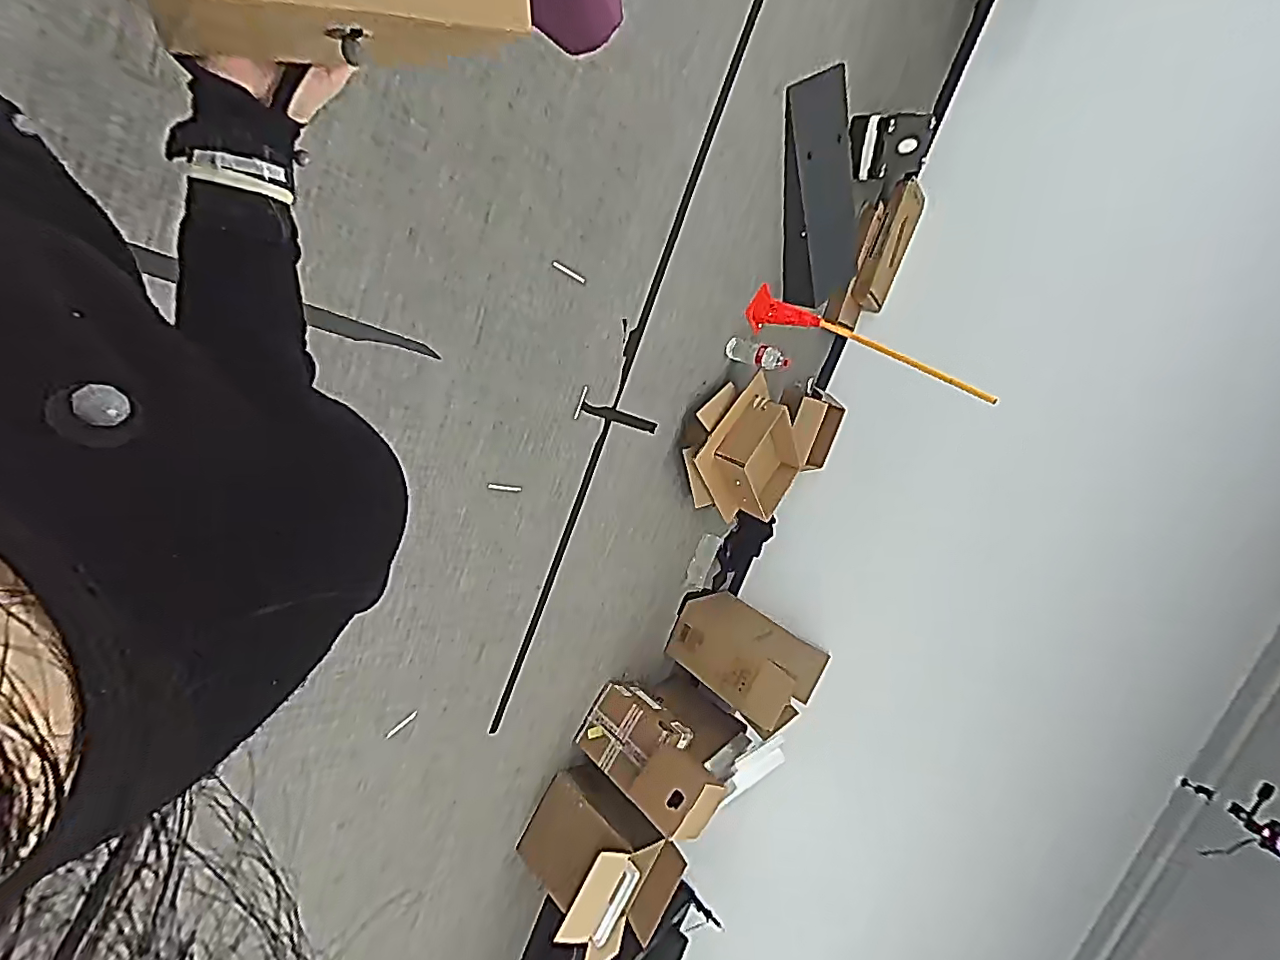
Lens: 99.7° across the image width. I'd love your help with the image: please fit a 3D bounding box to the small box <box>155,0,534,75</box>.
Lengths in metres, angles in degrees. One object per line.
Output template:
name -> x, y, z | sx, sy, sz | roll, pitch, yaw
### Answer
small box -> -0.186, -0.343, 0.304 | 0.179, 0.176, 0.168 | -26, 128, -34
